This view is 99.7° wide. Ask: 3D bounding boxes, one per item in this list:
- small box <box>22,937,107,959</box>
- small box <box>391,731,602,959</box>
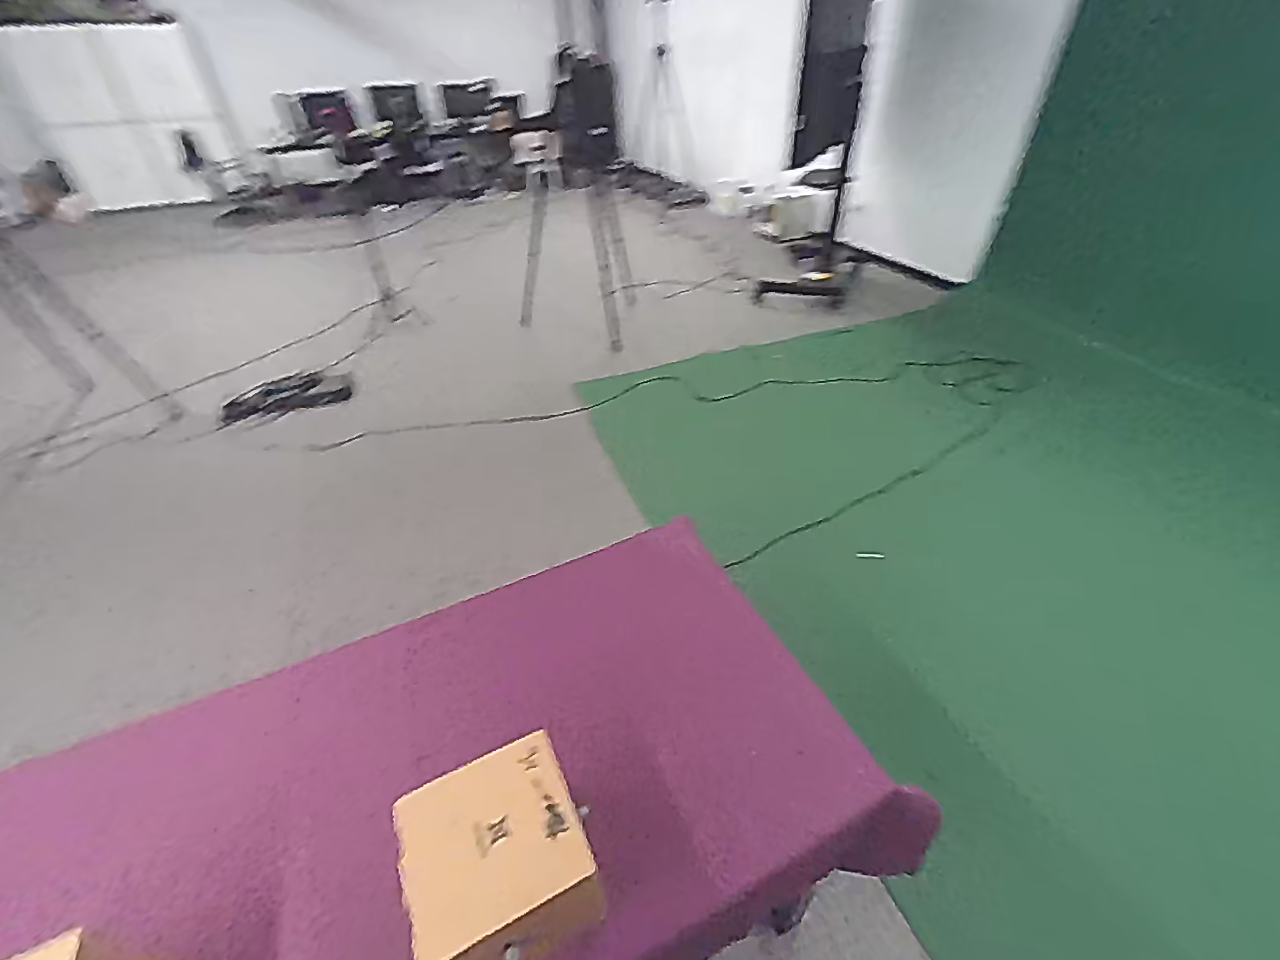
[{"bbox_3d":[-0.561,0.562,0.473,0.168,0.176,0.179,-18,41,-20],"label":"small box"},{"bbox_3d":[-0.156,0.434,0.614,0.179,0.176,0.168,-20,42,-19],"label":"small box"}]
